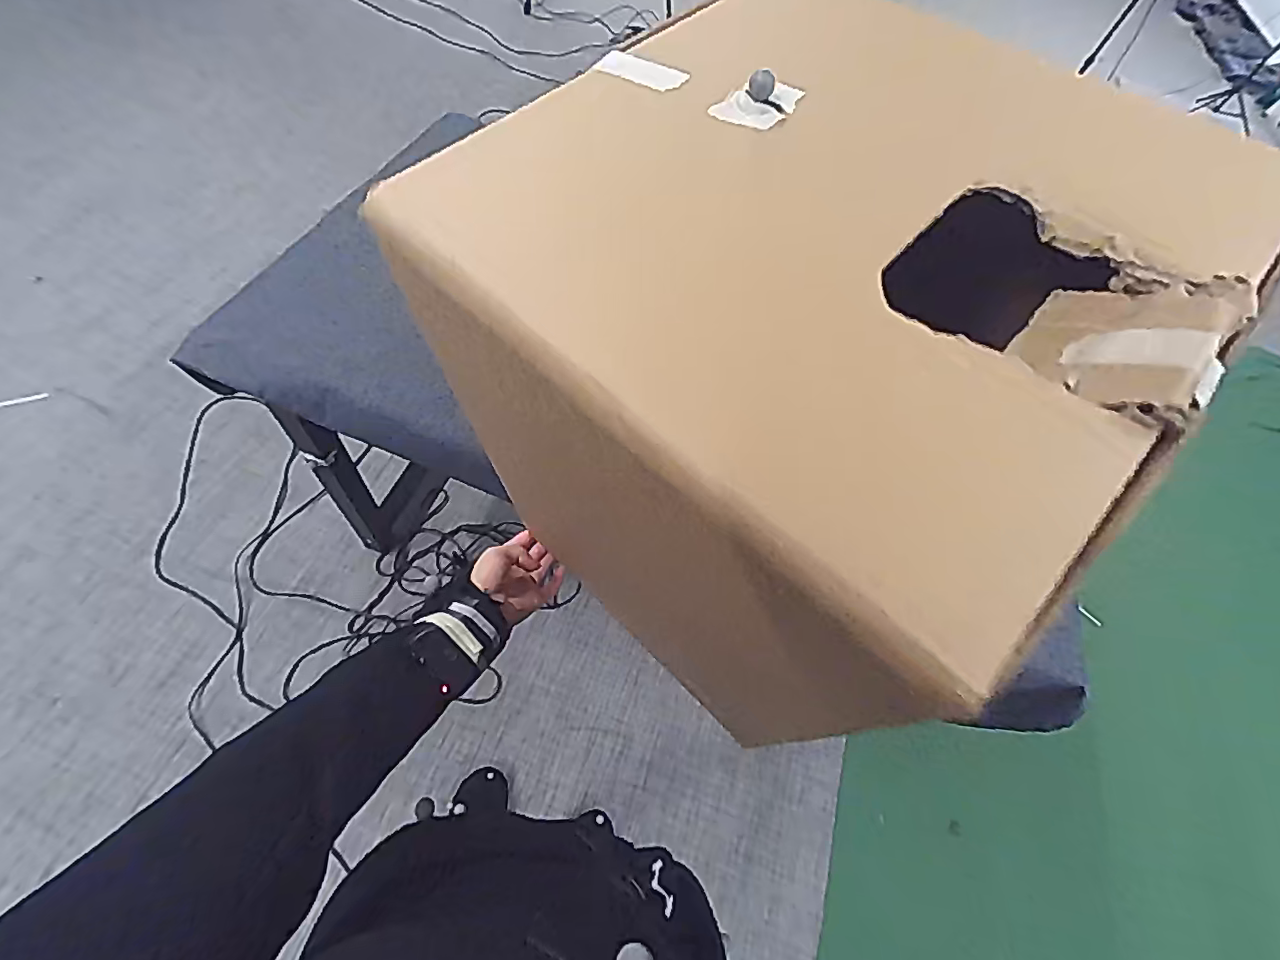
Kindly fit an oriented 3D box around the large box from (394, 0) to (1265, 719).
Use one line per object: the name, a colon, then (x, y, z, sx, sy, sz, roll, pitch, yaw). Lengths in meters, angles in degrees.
large box: (0.092, -0.046, 0.432, 0.320, 0.408, 0.320, 41, 71, 18)
